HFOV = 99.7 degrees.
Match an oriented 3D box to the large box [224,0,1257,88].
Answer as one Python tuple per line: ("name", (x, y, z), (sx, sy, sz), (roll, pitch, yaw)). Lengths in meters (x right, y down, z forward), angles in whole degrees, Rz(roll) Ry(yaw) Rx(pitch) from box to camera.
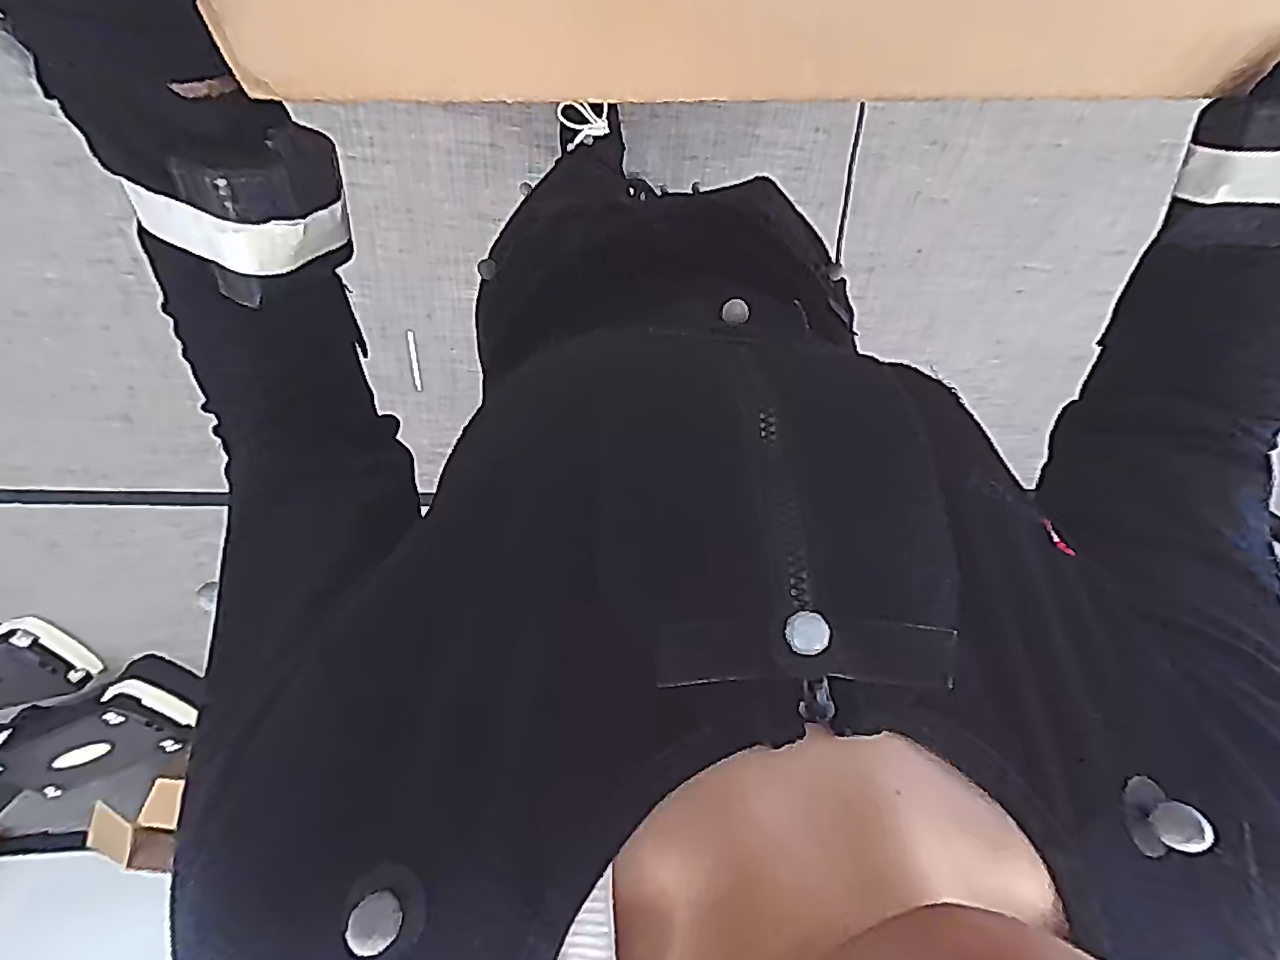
("large box", (0.043, -0.373, 0.178), (0.408, 0.320, 0.320), (-3, 146, -4))
